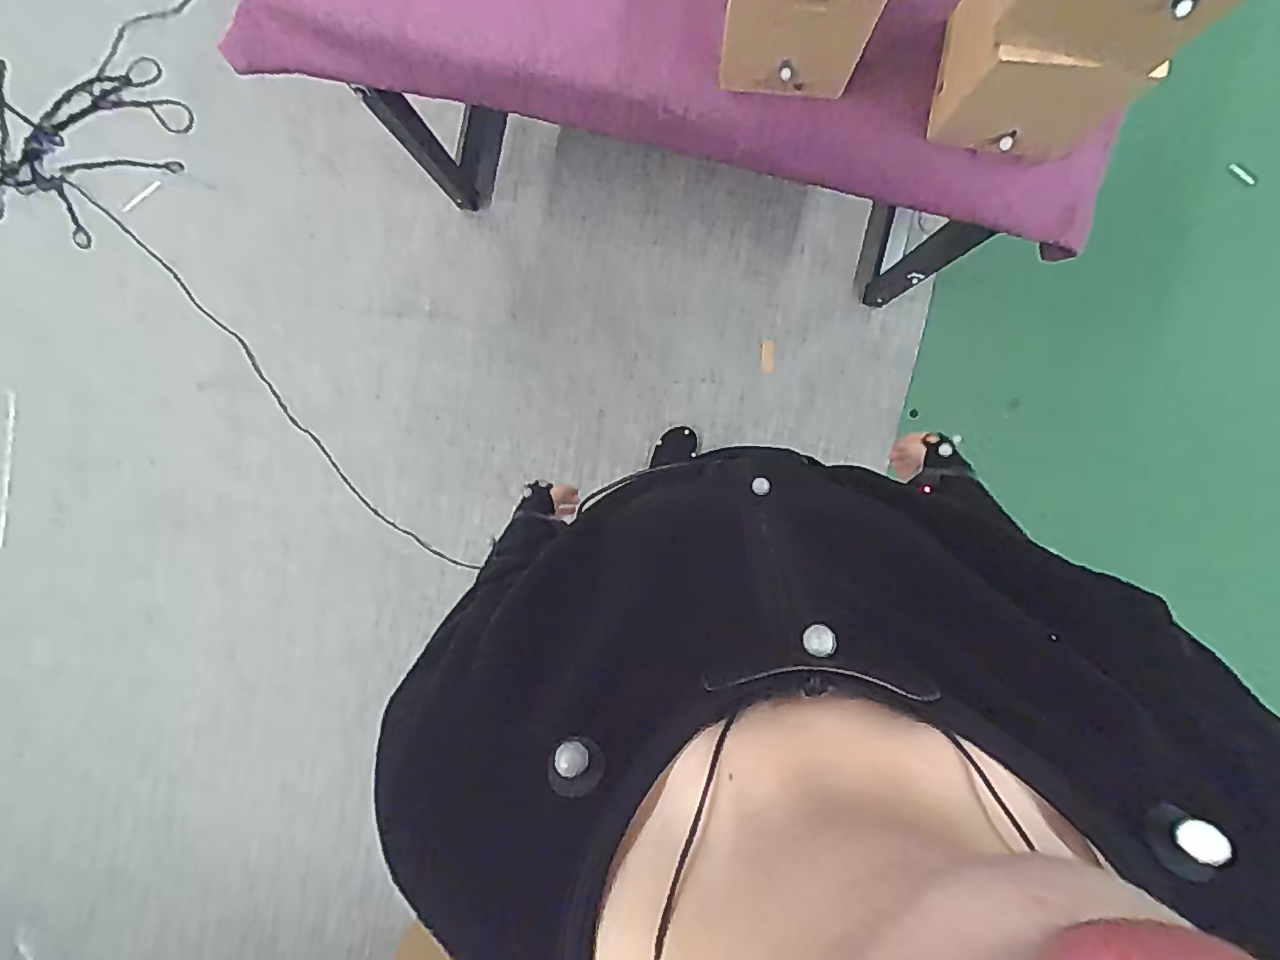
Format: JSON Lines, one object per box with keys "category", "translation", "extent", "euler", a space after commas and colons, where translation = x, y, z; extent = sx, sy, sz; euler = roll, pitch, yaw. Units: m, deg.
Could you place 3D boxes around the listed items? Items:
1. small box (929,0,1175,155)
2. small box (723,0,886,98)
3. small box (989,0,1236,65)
{"category": "small box", "translation": [0.479, -0.514, 0.636], "extent": [0.179, 0.176, 0.168], "euler": [9, 94, 3]}
{"category": "small box", "translation": [0.196, -0.607, 0.646], "extent": [0.168, 0.176, 0.179], "euler": [7, 94, 3]}
{"category": "small box", "translation": [0.459, -0.513, 0.473], "extent": [0.179, 0.176, 0.168], "euler": [16, 95, 3]}
